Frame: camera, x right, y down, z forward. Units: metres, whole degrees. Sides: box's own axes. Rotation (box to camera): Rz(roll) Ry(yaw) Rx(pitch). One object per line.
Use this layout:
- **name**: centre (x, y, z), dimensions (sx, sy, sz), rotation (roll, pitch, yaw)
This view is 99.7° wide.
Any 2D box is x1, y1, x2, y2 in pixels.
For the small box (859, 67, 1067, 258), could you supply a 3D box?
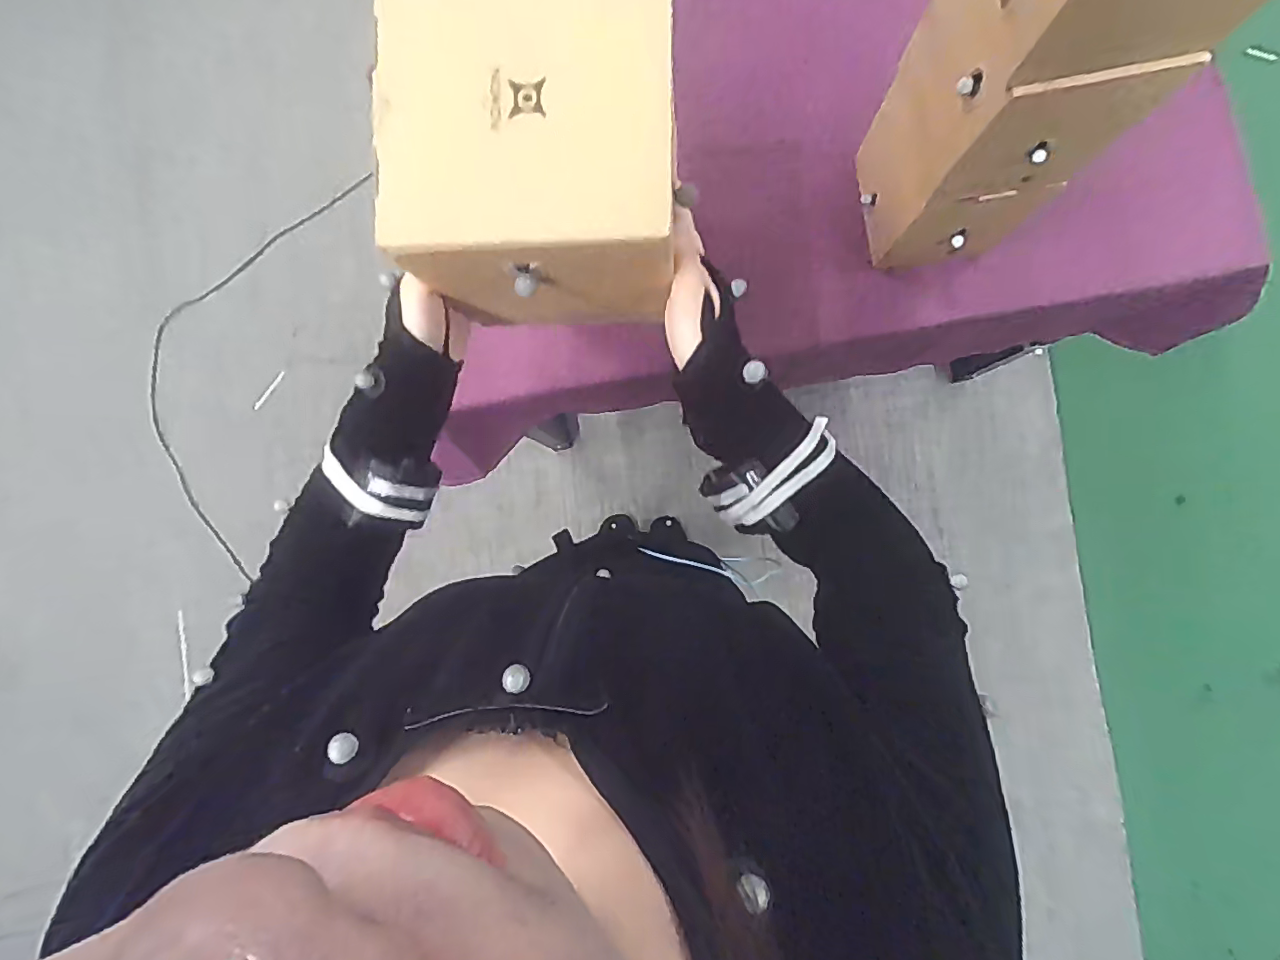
- **small box**: centre (0.406, -0.411, 0.709), dimensions (0.168, 0.176, 0.179), rotation (-8, 88, 2)

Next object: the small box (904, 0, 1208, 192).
- **small box**: centre (0.393, -0.418, 0.545), dimensions (0.168, 0.176, 0.179), rotation (-8, 87, 2)

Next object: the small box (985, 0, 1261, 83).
- **small box**: centre (0.379, -0.431, 0.383), dimensions (0.179, 0.176, 0.168), rotation (-8, 86, 4)

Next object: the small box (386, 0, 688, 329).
- **small box**: centre (-0.054, -0.211, 0.389), dimensions (0.179, 0.176, 0.168), rotation (0, 92, 6)
